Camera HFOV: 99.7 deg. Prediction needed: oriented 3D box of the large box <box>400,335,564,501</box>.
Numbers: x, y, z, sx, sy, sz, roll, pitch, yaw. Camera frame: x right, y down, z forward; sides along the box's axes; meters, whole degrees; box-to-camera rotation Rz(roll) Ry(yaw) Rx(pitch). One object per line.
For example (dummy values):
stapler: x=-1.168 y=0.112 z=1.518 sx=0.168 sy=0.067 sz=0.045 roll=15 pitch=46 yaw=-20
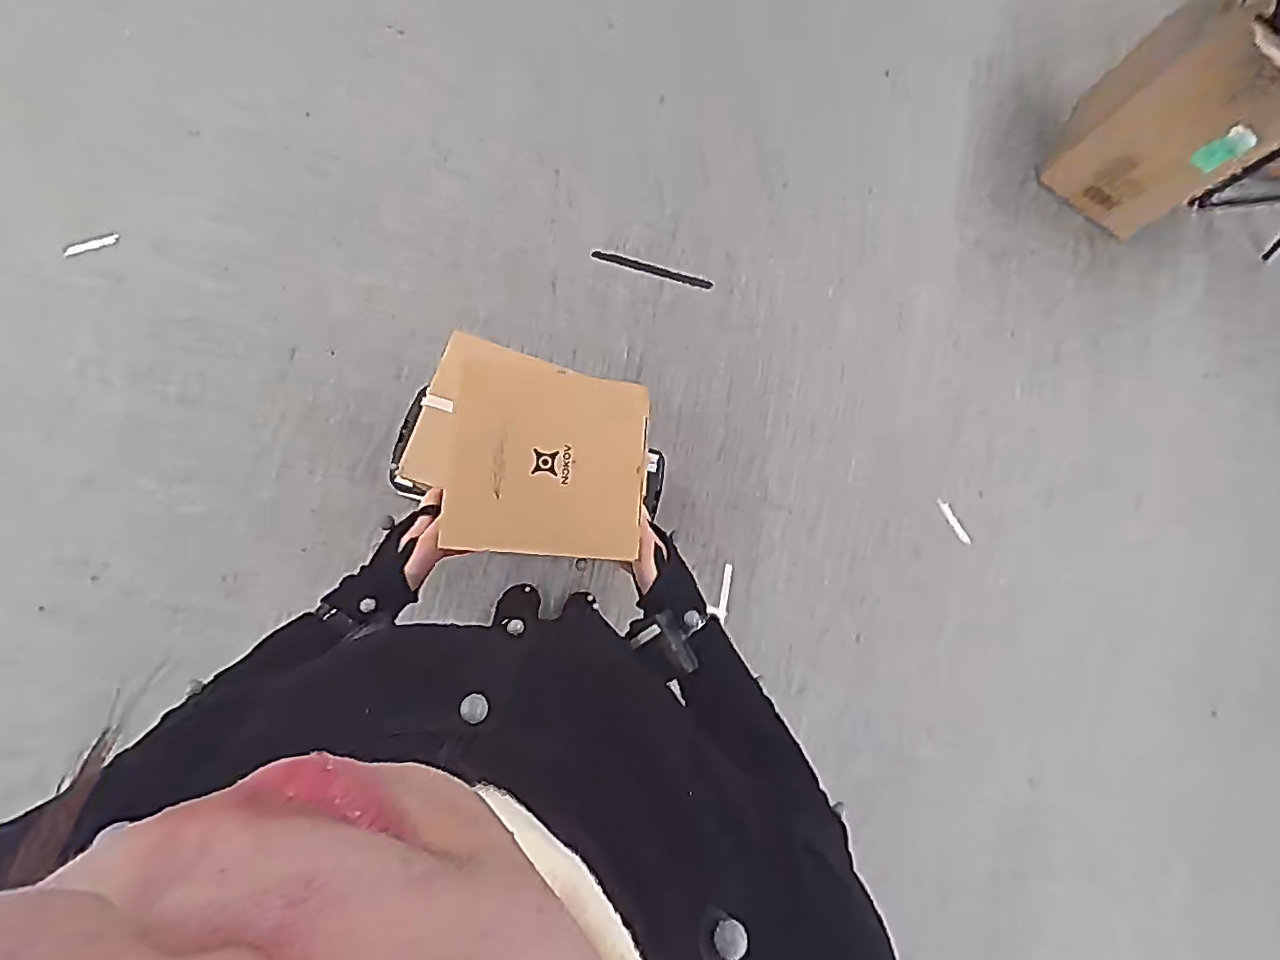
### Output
large box: x=-0.237 y=-0.063 z=1.197 sx=0.408 sy=0.320 sz=0.320 roll=18 pitch=77 yaw=-4

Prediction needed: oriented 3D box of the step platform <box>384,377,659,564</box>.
step platform: x=-0.294 y=-0.017 z=1.425 sx=0.684 sy=0.204 sz=0.286 roll=20 pitch=78 yaw=-4

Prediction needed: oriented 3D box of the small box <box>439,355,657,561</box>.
small box: x=-0.091 y=-0.011 z=0.547 sx=0.179 sy=0.176 sz=0.168 roll=5 pitch=84 yaw=-11
